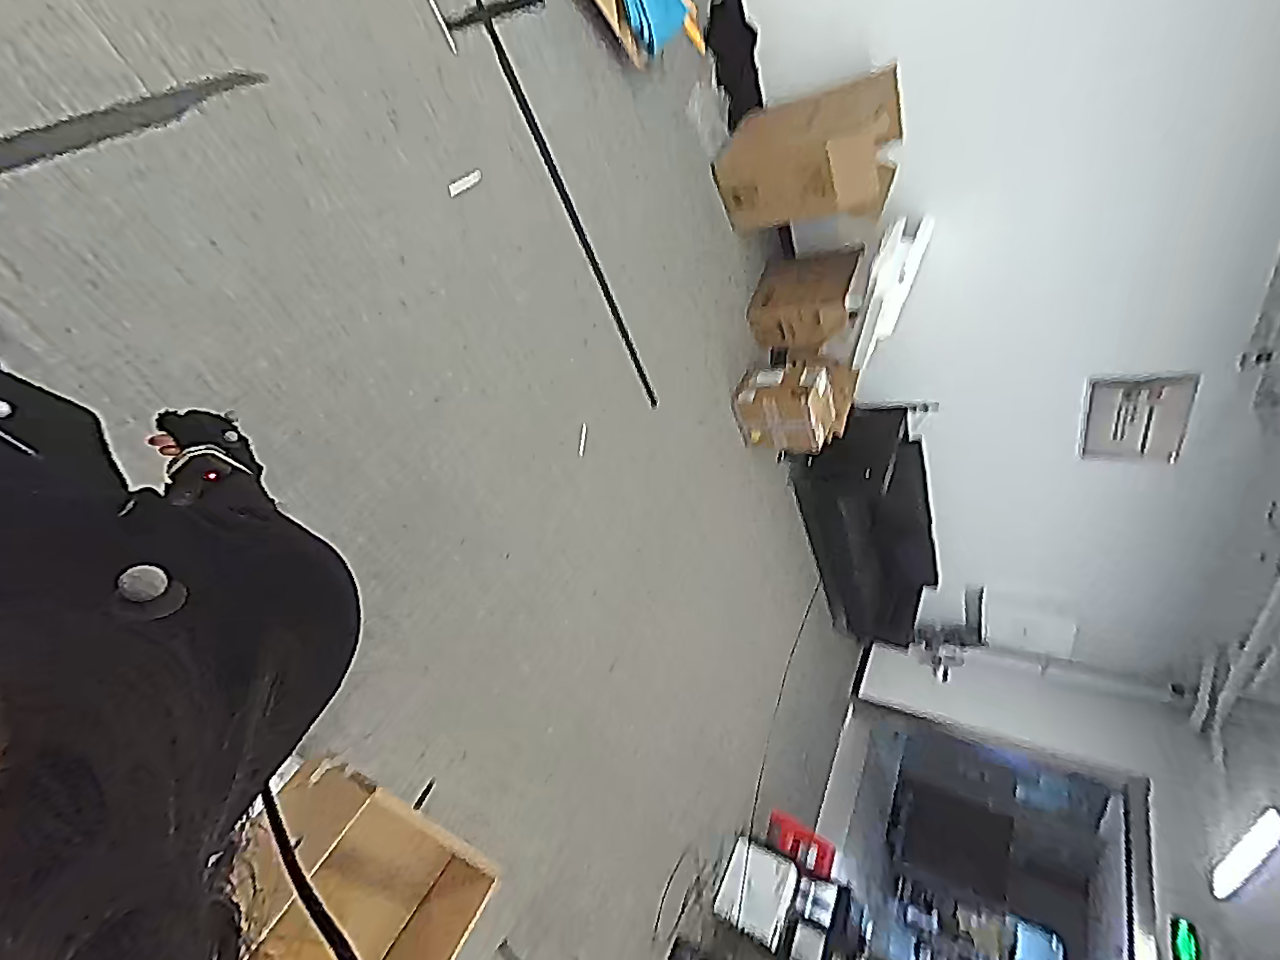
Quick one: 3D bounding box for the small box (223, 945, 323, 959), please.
[{"bbox_3d":[-0.540,0.812,0.772,0.179,0.176,0.168,57,49,-38],"label":"small box"}]
